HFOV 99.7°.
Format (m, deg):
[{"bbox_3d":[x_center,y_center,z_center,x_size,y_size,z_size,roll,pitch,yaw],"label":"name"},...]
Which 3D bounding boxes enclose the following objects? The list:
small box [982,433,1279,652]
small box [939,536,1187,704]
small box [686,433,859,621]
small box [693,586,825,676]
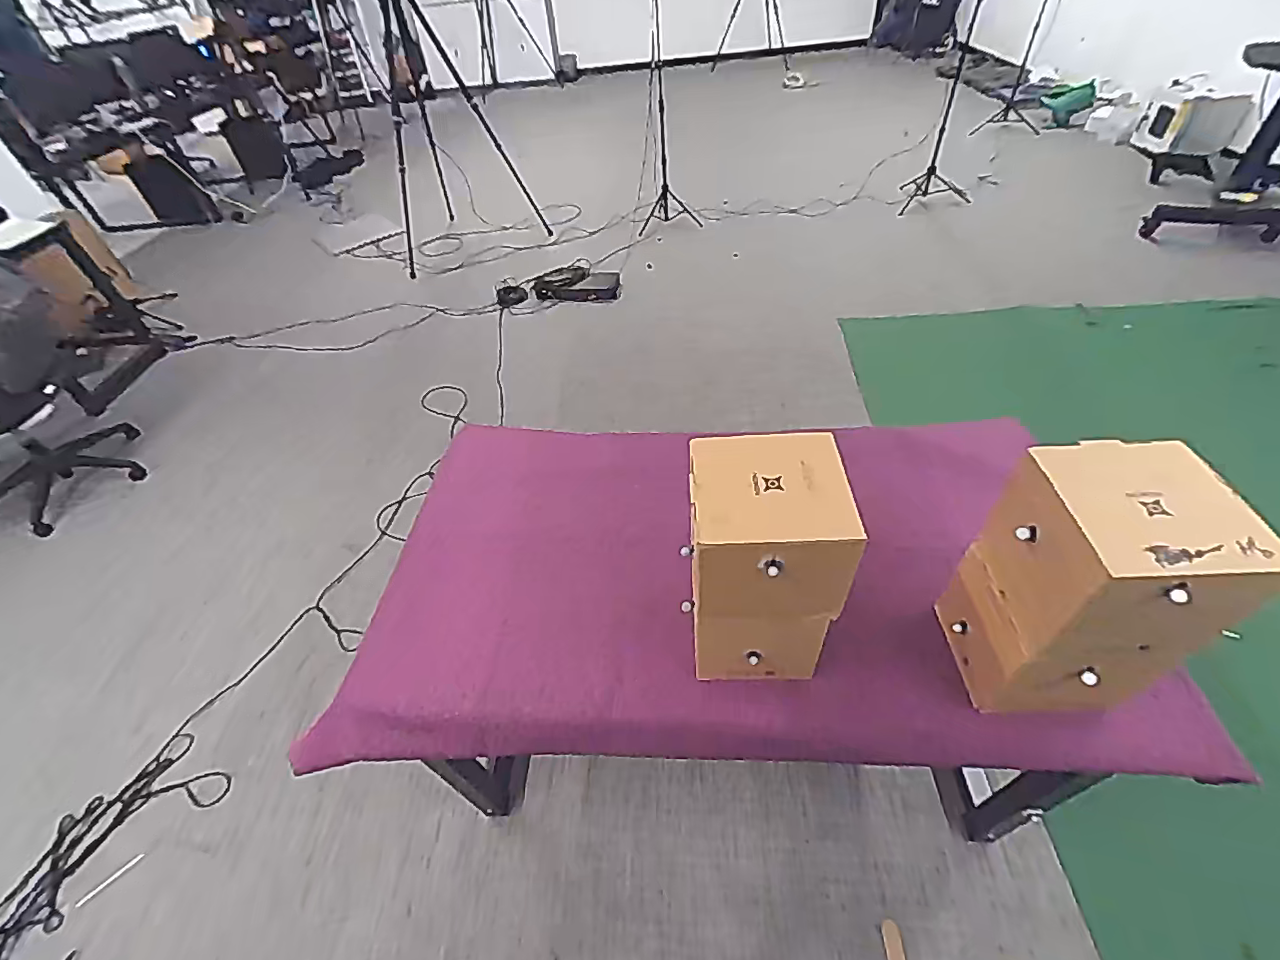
[{"bbox_3d":[0.520,0.071,0.603,0.168,0.176,0.179,-5,46,7],"label":"small box"},{"bbox_3d":[0.536,0.186,0.720,0.179,0.176,0.168,-5,47,6],"label":"small box"},{"bbox_3d":[0.150,0.062,0.668,0.179,0.176,0.168,-3,46,5],"label":"small box"},{"bbox_3d":[0.163,0.172,0.788,0.168,0.176,0.179,-3,45,6],"label":"small box"}]
